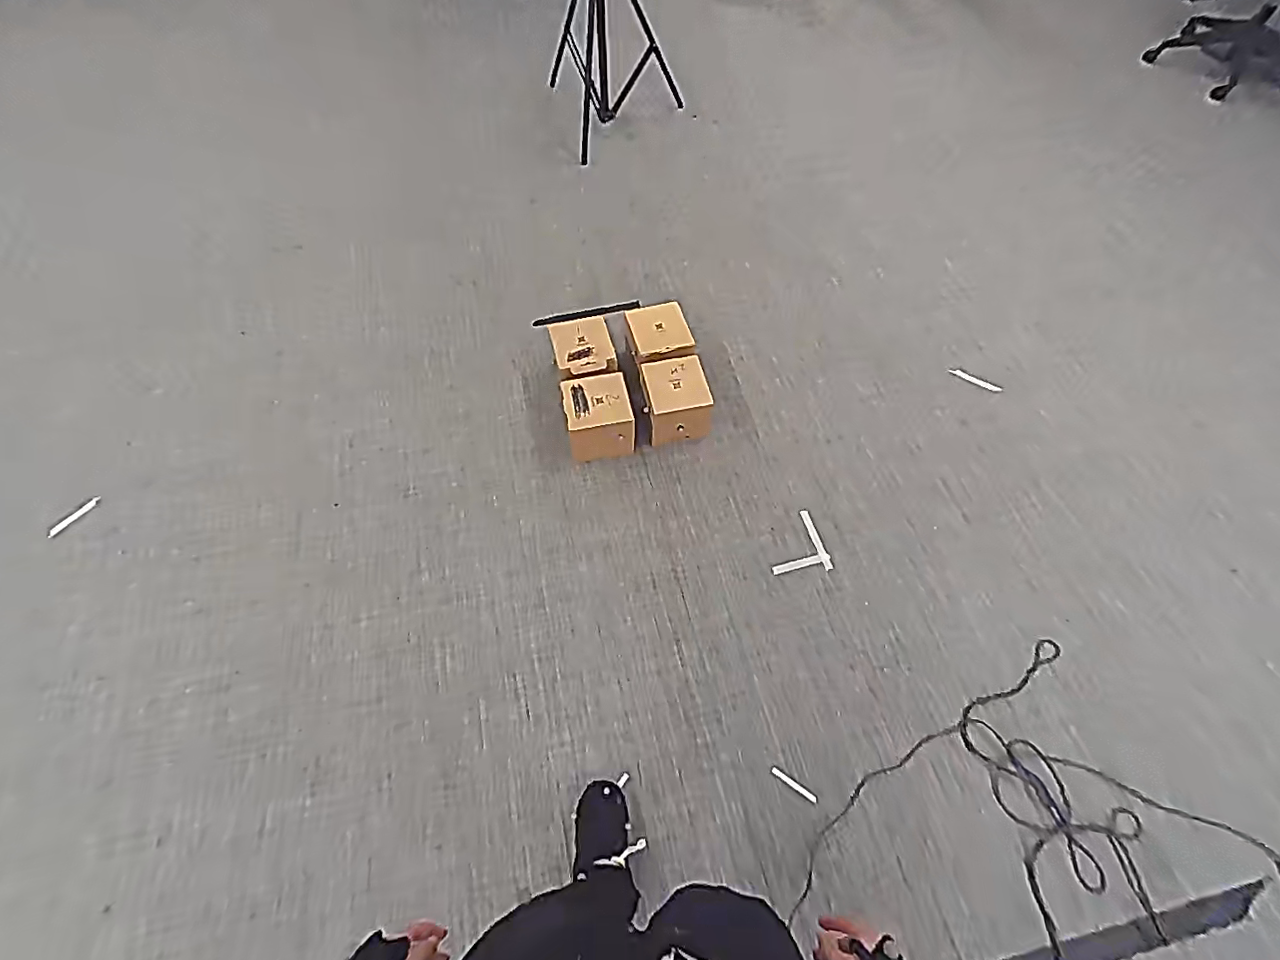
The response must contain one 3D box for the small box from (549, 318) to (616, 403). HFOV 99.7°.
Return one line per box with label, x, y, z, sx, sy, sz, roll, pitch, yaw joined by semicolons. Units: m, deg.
small box;-0.167;-0.346;1.606;0.168;0.176;0.179;-12;61;-8
